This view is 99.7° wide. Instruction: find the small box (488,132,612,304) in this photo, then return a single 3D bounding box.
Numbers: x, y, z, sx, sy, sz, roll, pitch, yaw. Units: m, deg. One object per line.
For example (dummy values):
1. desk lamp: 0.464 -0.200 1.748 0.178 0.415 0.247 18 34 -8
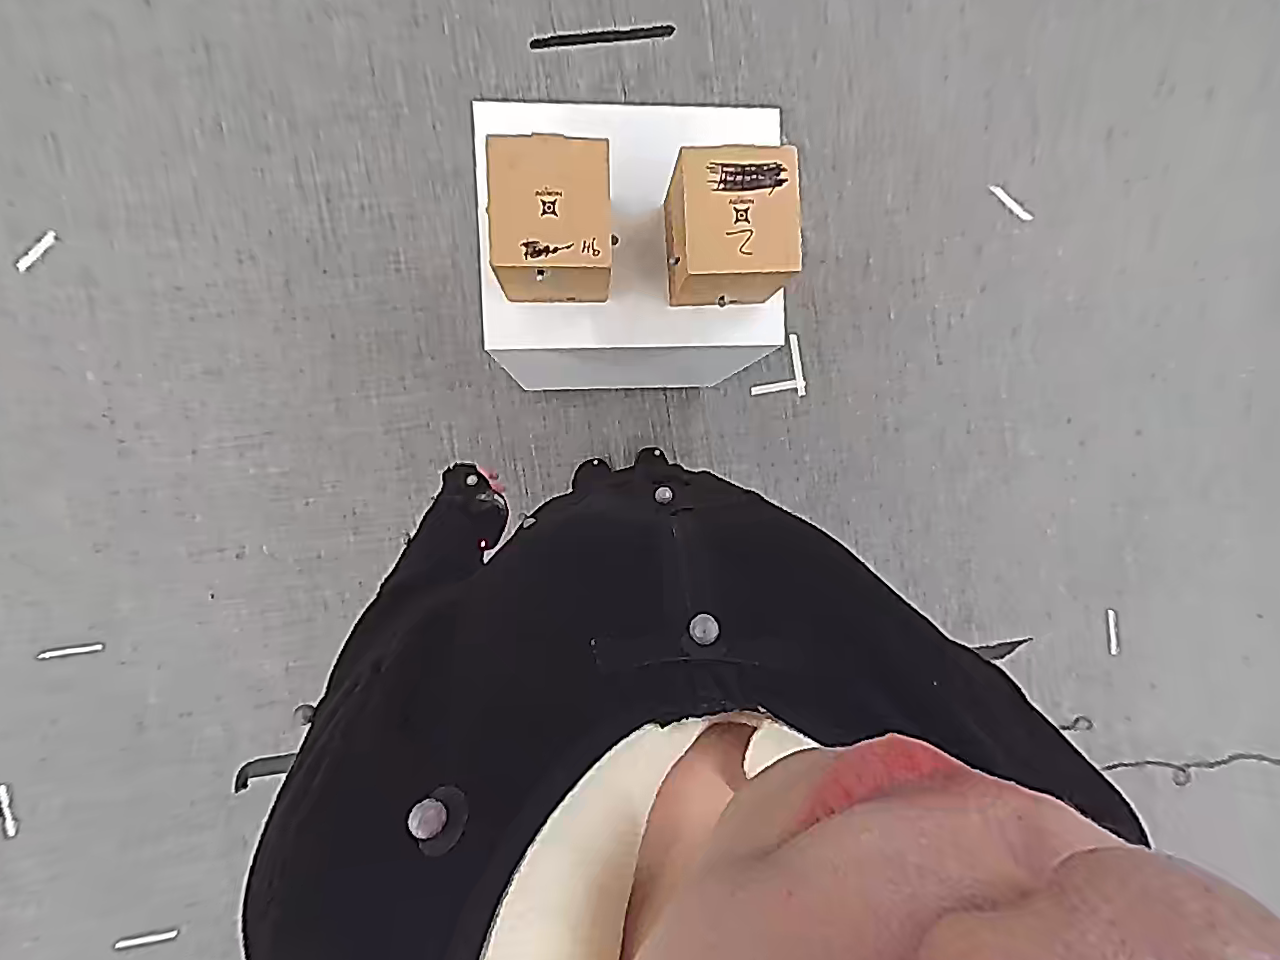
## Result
1. small box: -0.128 -0.376 0.803 0.168 0.176 0.179 -1 92 -5
